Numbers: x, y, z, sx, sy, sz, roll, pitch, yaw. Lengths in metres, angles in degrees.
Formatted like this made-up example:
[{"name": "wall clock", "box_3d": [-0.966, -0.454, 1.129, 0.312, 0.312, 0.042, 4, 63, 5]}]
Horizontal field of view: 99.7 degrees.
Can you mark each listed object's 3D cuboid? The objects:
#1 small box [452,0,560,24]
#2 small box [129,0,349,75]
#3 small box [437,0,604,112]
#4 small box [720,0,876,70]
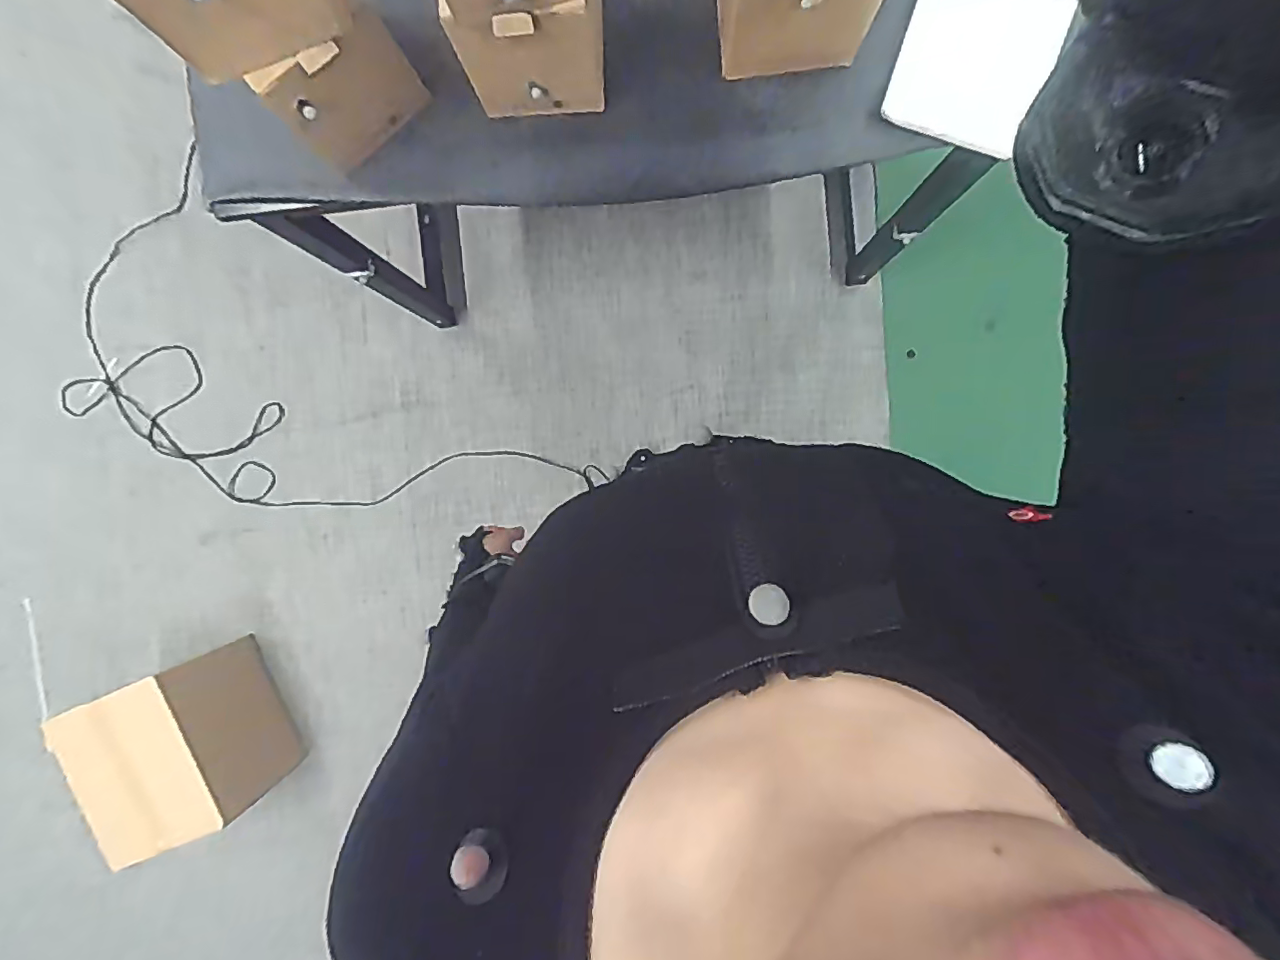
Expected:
[{"name": "small box", "box_3d": [-0.143, -0.594, 0.505, 0.168, 0.176, 0.179, -13, 91, 5]}, {"name": "small box", "box_3d": [-0.428, -0.547, 0.522, 0.179, 0.176, 0.168, -19, 90, 5]}, {"name": "small box", "box_3d": [-0.137, -0.599, 0.667, 0.168, 0.176, 0.179, -1, 91, 4]}, {"name": "small box", "box_3d": [0.191, -0.638, 0.647, 0.179, 0.176, 0.168, -5, 91, 5]}]
